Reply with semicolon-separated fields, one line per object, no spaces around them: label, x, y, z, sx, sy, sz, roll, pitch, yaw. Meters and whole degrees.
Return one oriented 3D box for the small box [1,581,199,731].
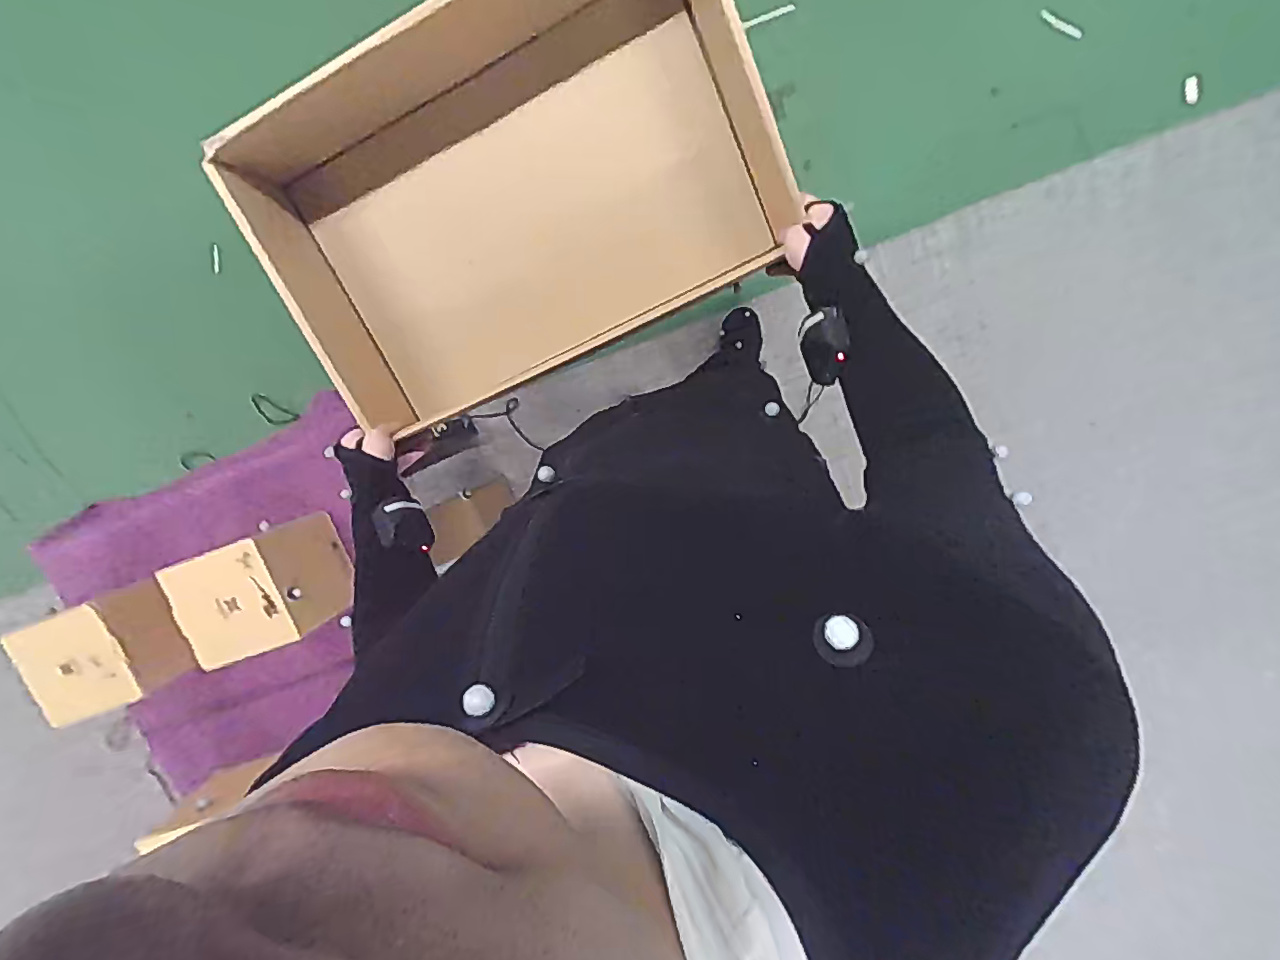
small box;-0.863;0.277;0.904;0.179;0.176;0.168;-20;99;6

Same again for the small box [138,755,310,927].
small box;-0.704;0.626;0.956;0.179;0.176;0.168;-19;97;6

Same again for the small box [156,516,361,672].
small box;-0.597;0.175;0.869;0.179;0.176;0.168;-19;99;9

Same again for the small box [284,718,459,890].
small box;-0.444;0.541;0.922;0.179;0.176;0.168;-19;98;8
